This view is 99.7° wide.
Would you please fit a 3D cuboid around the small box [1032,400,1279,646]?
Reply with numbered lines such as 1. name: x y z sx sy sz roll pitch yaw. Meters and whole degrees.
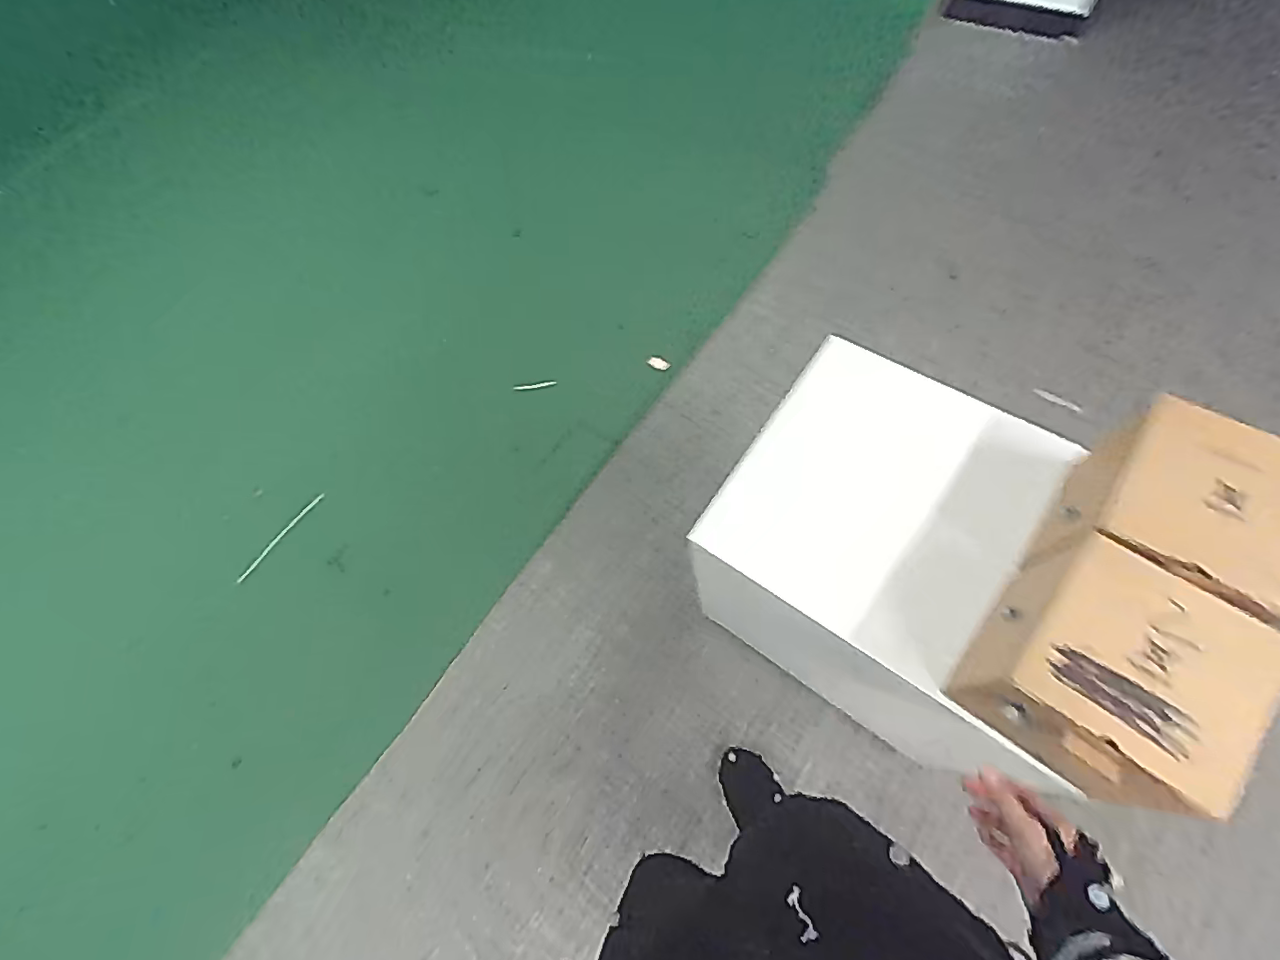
1. small box: 0.568 0.055 0.579 0.168 0.176 0.179 33 74 20
